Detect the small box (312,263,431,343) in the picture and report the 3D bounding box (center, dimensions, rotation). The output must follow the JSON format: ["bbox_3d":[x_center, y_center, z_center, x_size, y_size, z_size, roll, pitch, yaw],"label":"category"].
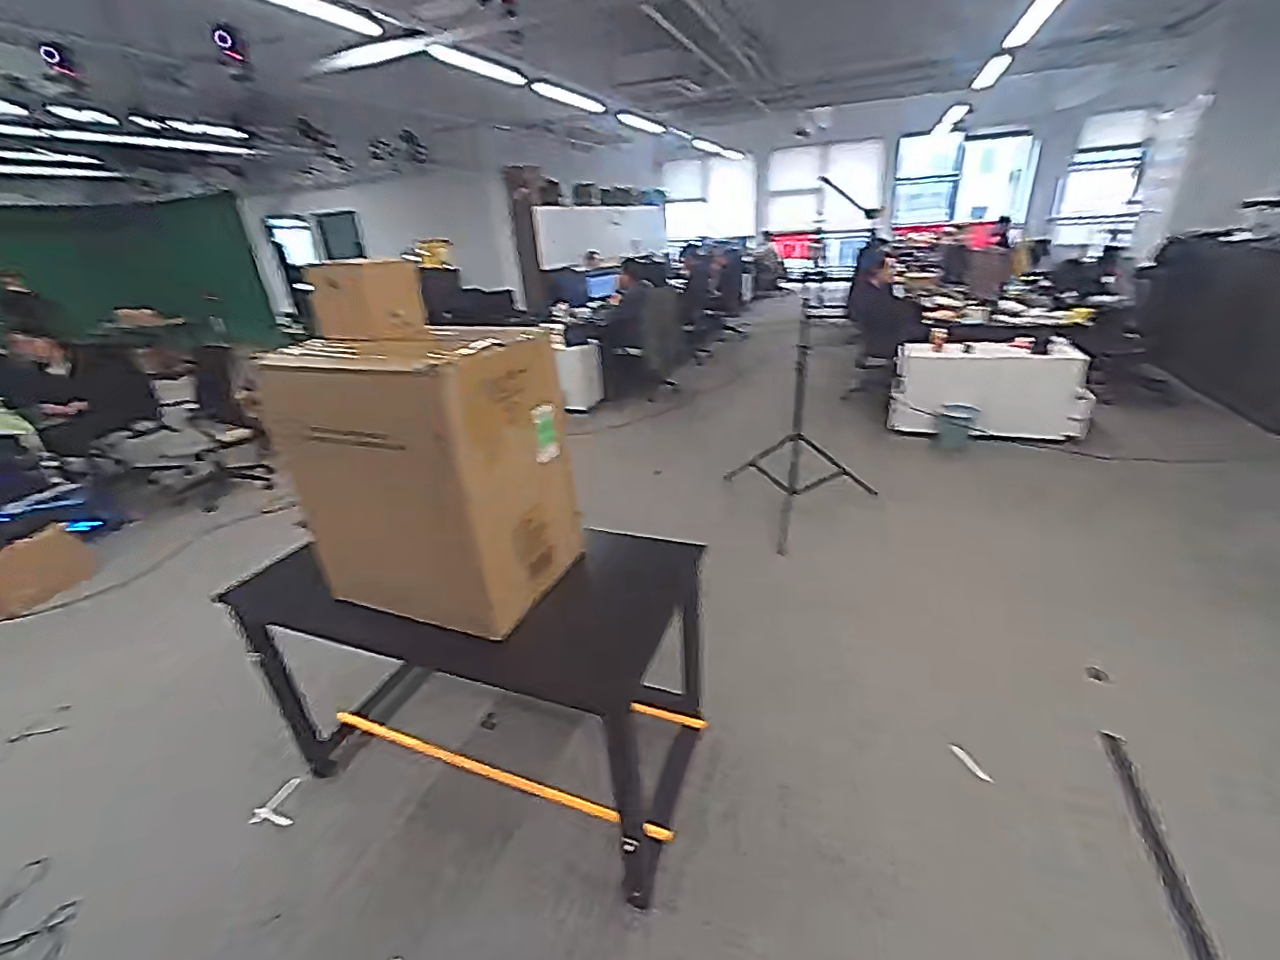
[{"bbox_3d":[-0.634,-0.424,1.293,0.179,0.176,0.168,8,26,21],"label":"small box"}]
